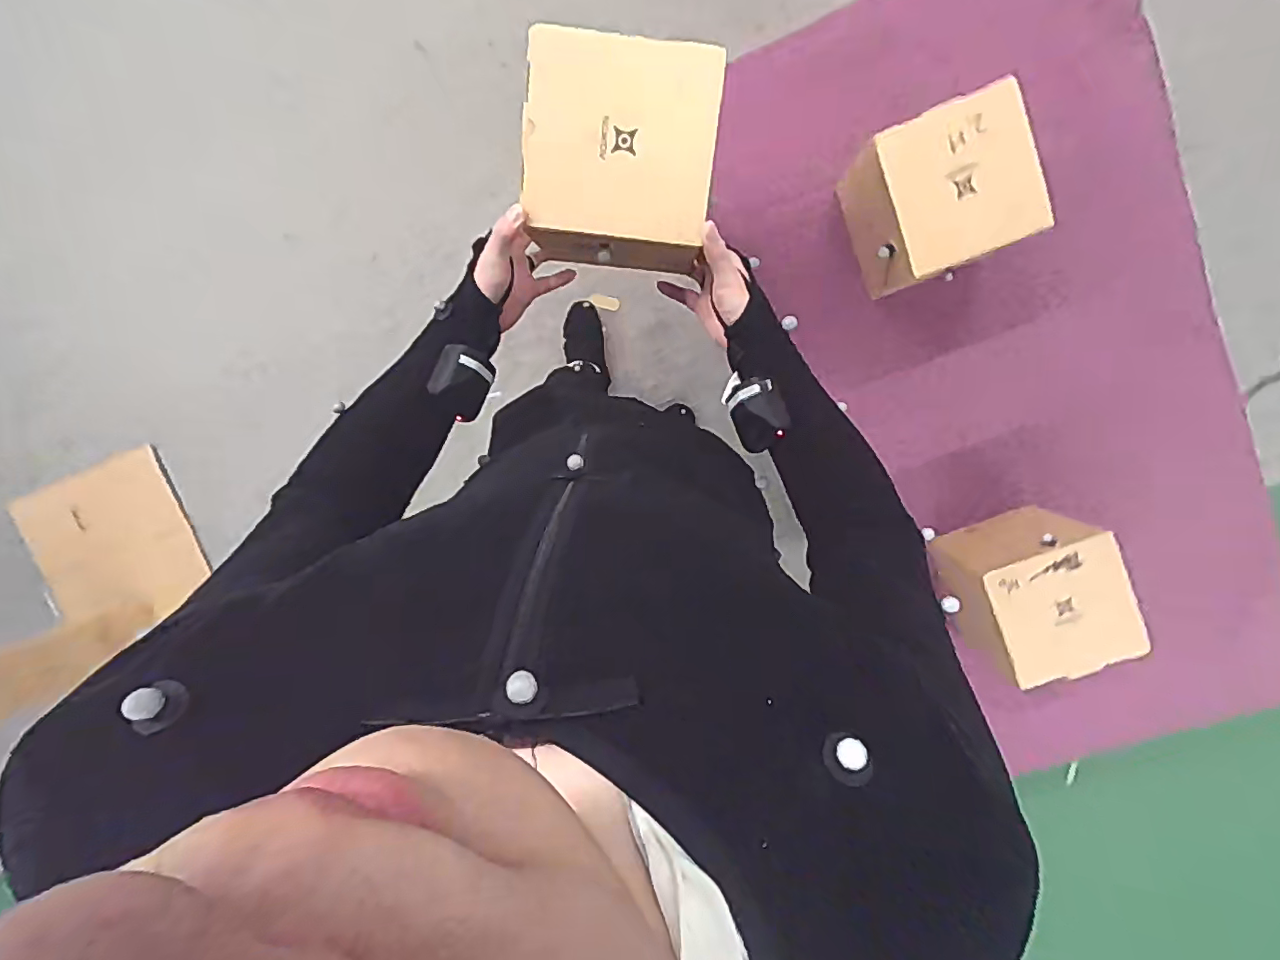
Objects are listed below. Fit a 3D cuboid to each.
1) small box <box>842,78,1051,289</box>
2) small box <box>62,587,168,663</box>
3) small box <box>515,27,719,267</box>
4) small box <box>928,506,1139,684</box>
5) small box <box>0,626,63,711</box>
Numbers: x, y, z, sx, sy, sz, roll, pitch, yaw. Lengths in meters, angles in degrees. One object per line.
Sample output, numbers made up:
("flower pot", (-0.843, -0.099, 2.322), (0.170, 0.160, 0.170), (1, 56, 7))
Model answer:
("small box", (0.388, -0.366, 0.713), (0.168, 0.176, 0.179), (-19, 97, 8))
("small box", (-1.740, 0.481, 1.804), (0.168, 0.176, 0.179), (-14, 97, 8))
("small box", (-0.022, -0.328, 0.569), (0.179, 0.176, 0.168), (6, 103, 1))
("small box", (0.554, 0.158, 0.785), (0.168, 0.176, 0.179), (-21, 97, 9))
("small box", (-1.758, 0.525, 1.480), (0.168, 0.176, 0.179), (-12, 98, 7))
